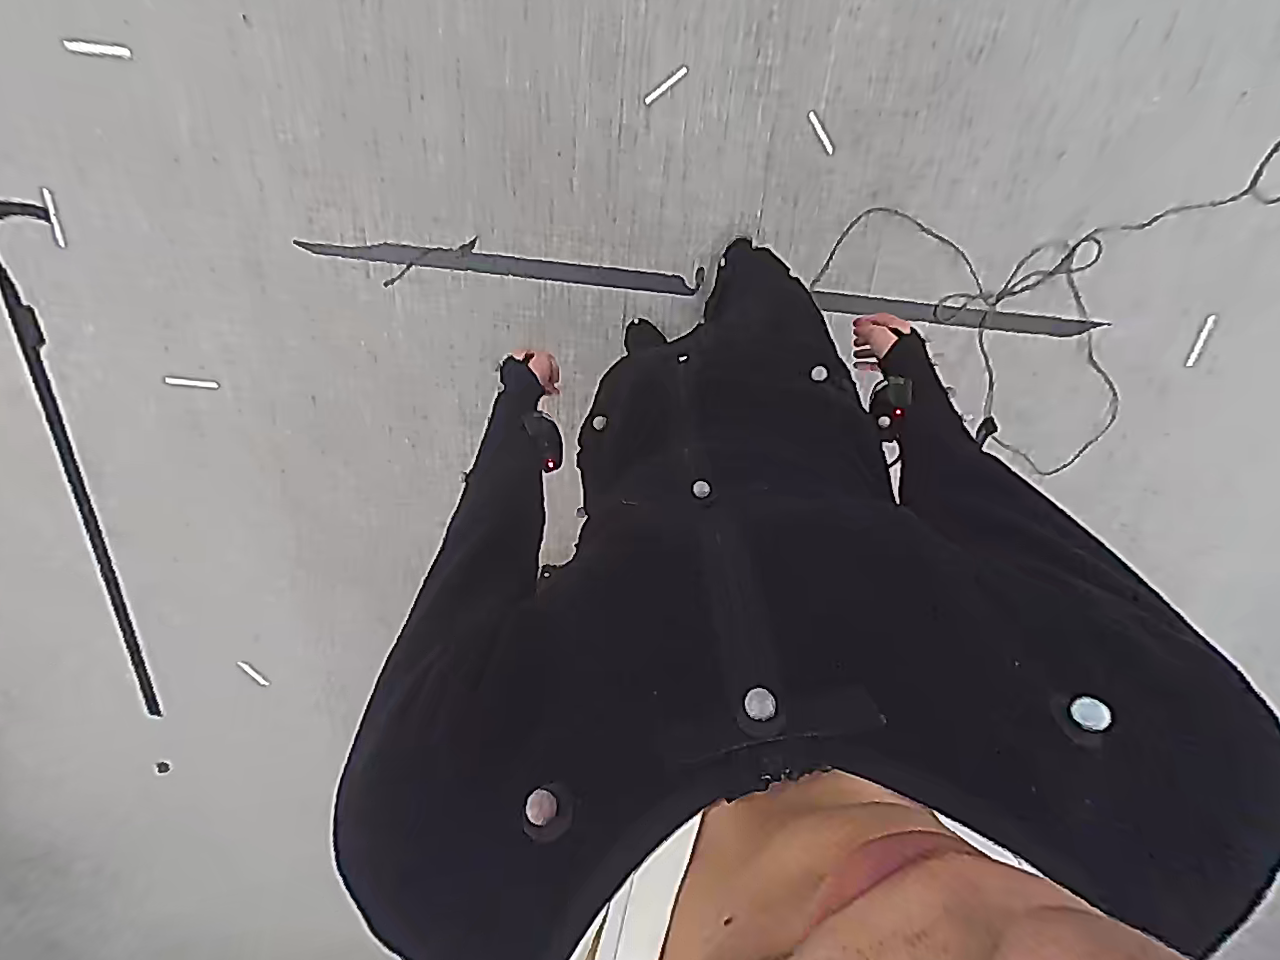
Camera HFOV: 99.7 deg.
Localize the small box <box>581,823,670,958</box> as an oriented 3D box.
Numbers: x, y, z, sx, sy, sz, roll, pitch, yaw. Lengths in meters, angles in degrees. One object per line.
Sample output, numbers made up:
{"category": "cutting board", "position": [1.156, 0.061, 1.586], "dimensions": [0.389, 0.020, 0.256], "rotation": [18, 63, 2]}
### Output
{"category": "small box", "position": [-0.028, 0.863, 1.148], "dimensions": [0.179, 0.176, 0.168], "rotation": [3, 113, 0]}
